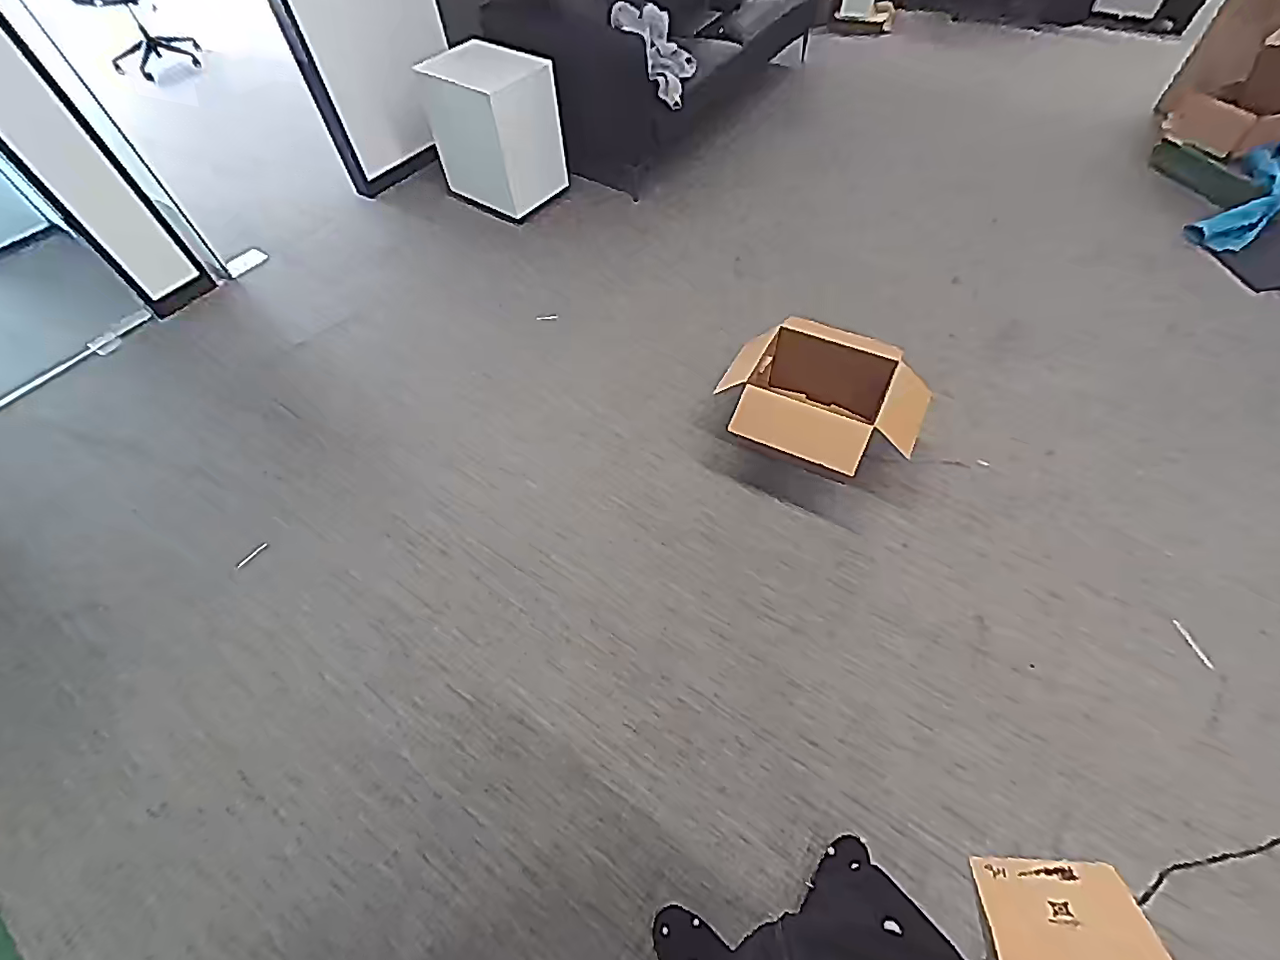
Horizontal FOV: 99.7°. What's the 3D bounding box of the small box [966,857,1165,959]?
[{"bbox_3d":[0.506,0.590,0.633,0.168,0.179,0.176,-11,92,21],"label":"small box"}]
